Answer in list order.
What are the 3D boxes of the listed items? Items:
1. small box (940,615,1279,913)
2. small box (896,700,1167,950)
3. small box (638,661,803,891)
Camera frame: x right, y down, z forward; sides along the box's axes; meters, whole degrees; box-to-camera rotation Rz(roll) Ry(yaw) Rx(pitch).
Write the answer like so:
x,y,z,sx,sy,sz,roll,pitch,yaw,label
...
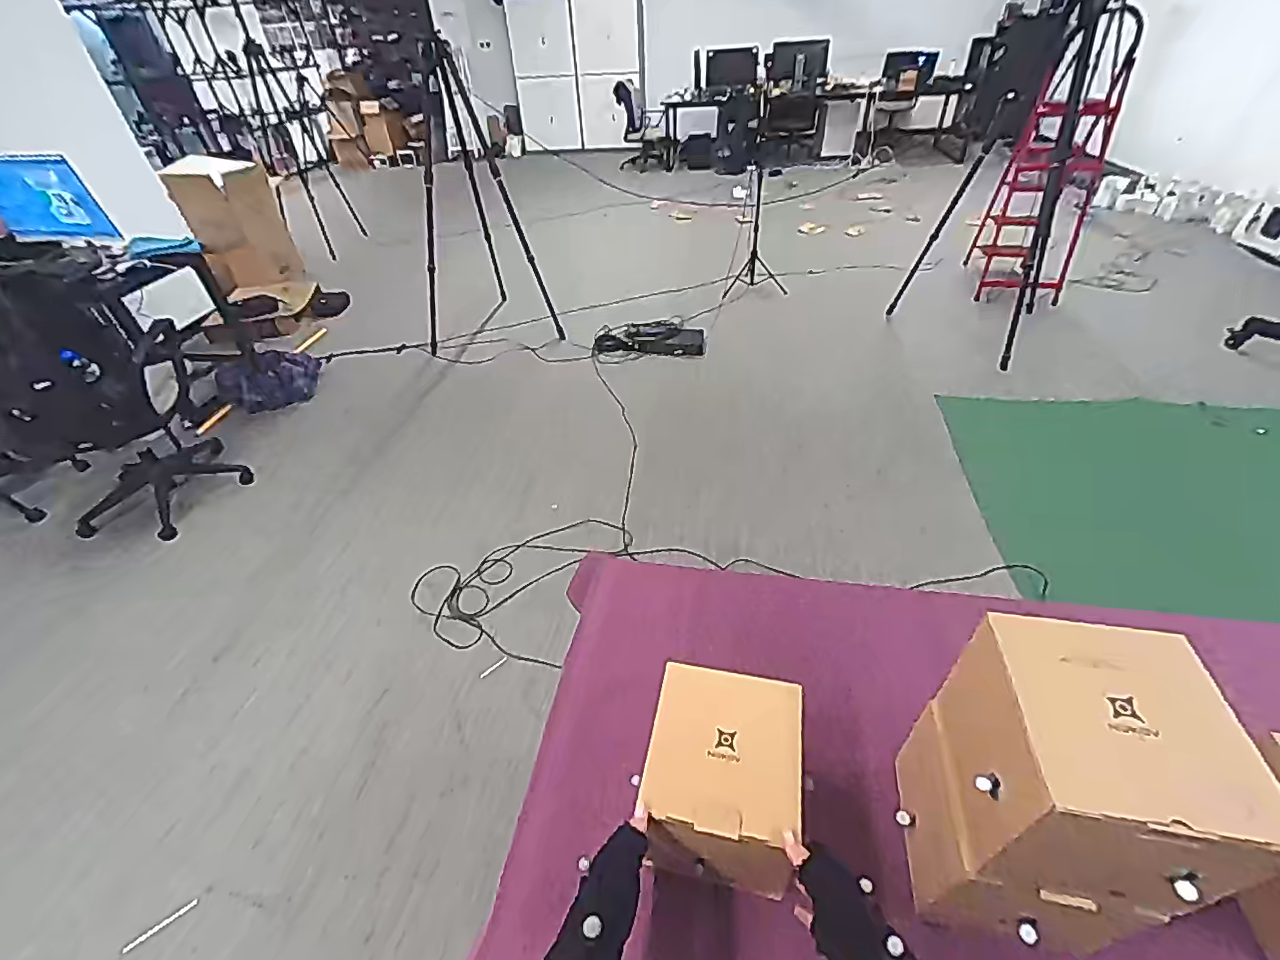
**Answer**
x,y,z,sx,sy,sz,roll,pitch,yaw,label
0.395,0.252,0.484,0.168,0.176,0.179,6,41,11,small box
0.396,0.375,0.591,0.168,0.176,0.179,7,42,11,small box
0.097,0.350,0.645,0.168,0.176,0.179,7,42,11,small box
